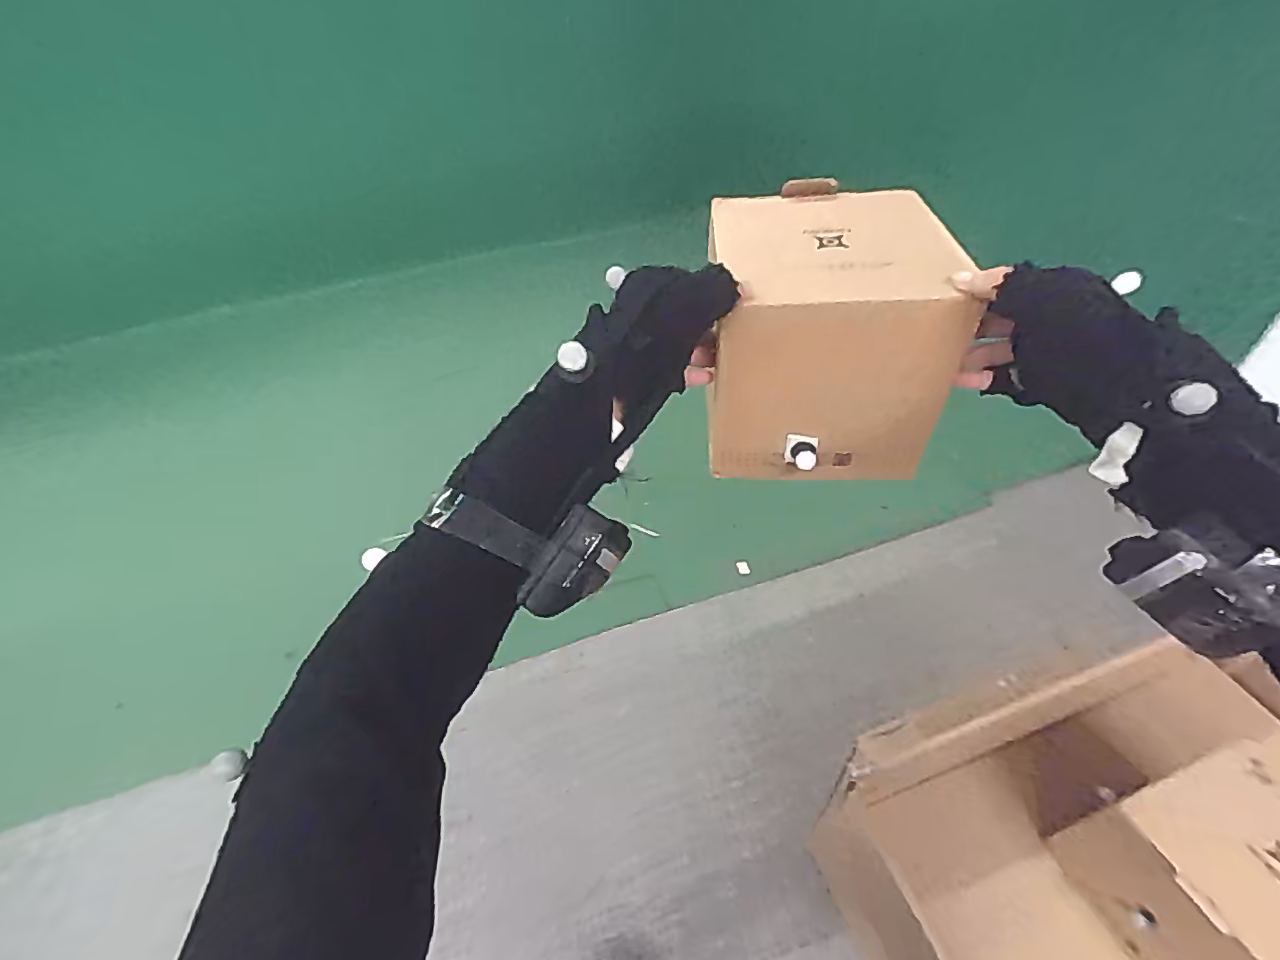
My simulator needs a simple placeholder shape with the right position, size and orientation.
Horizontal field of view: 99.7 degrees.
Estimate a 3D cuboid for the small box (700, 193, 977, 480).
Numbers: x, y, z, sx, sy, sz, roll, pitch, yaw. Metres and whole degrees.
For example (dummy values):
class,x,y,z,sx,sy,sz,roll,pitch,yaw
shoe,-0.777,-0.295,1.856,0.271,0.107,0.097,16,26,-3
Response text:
class,x,y,z,sx,sy,sz,roll,pitch,yaw
small box,0.137,-0.118,0.455,0.168,0.176,0.179,-2,48,4
